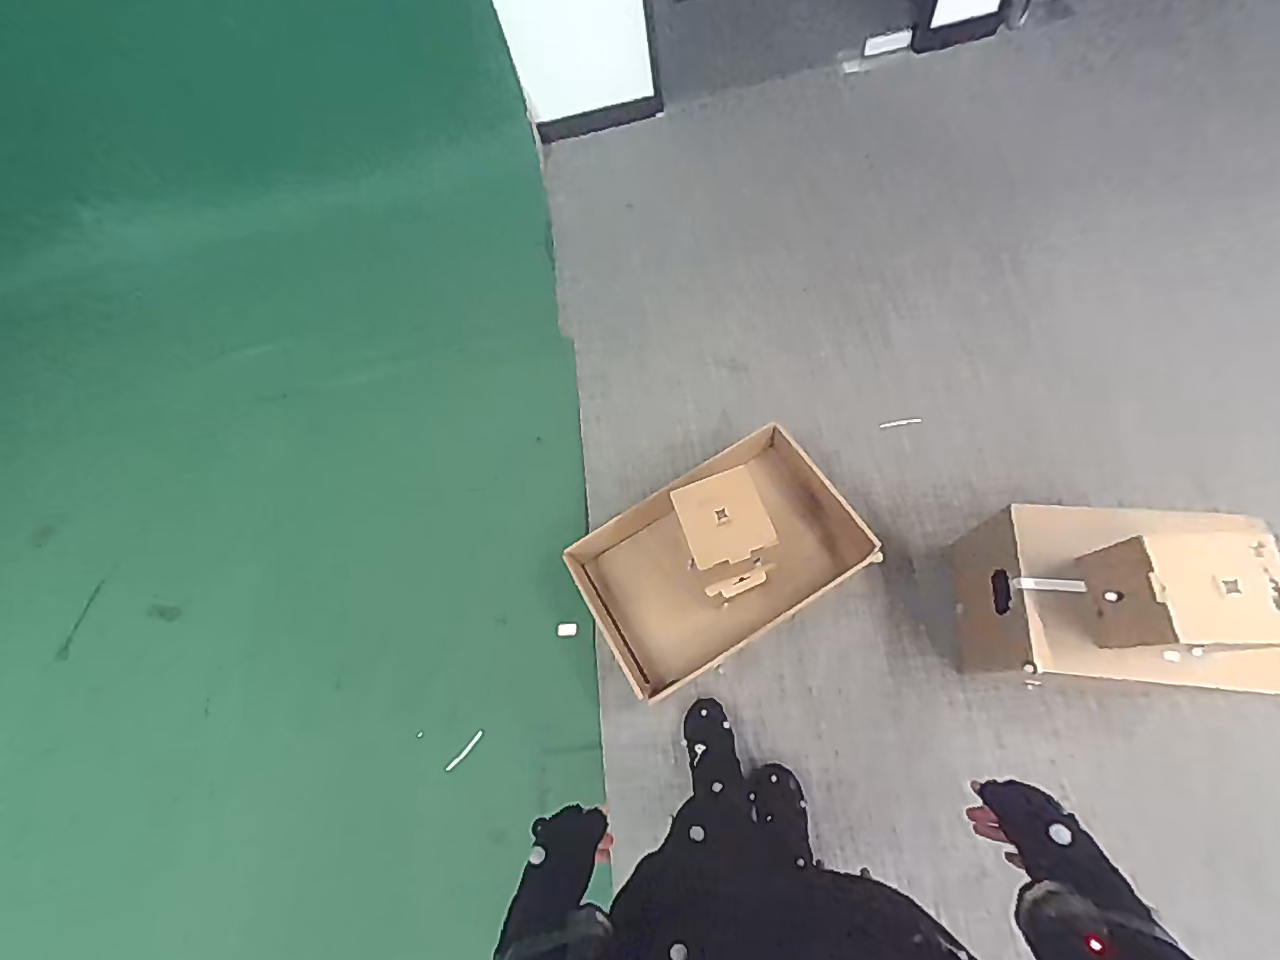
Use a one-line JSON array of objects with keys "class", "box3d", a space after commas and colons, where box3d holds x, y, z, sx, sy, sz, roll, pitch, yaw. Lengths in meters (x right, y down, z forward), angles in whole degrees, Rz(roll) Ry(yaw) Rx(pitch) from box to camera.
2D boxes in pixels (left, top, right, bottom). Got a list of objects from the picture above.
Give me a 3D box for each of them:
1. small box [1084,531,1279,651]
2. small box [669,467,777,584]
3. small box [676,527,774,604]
[{"class": "small box", "box3d": [0.865, 0.185, 0.871, 0.179, 0.176, 0.168, -3, 69, 9]}, {"class": "small box", "box3d": [0.174, 0.105, 1.130, 0.168, 0.176, 0.179, -21, 64, 1]}, {"class": "small box", "box3d": [0.203, 0.179, 1.272, 0.168, 0.176, 0.179, -25, 65, 0]}]
